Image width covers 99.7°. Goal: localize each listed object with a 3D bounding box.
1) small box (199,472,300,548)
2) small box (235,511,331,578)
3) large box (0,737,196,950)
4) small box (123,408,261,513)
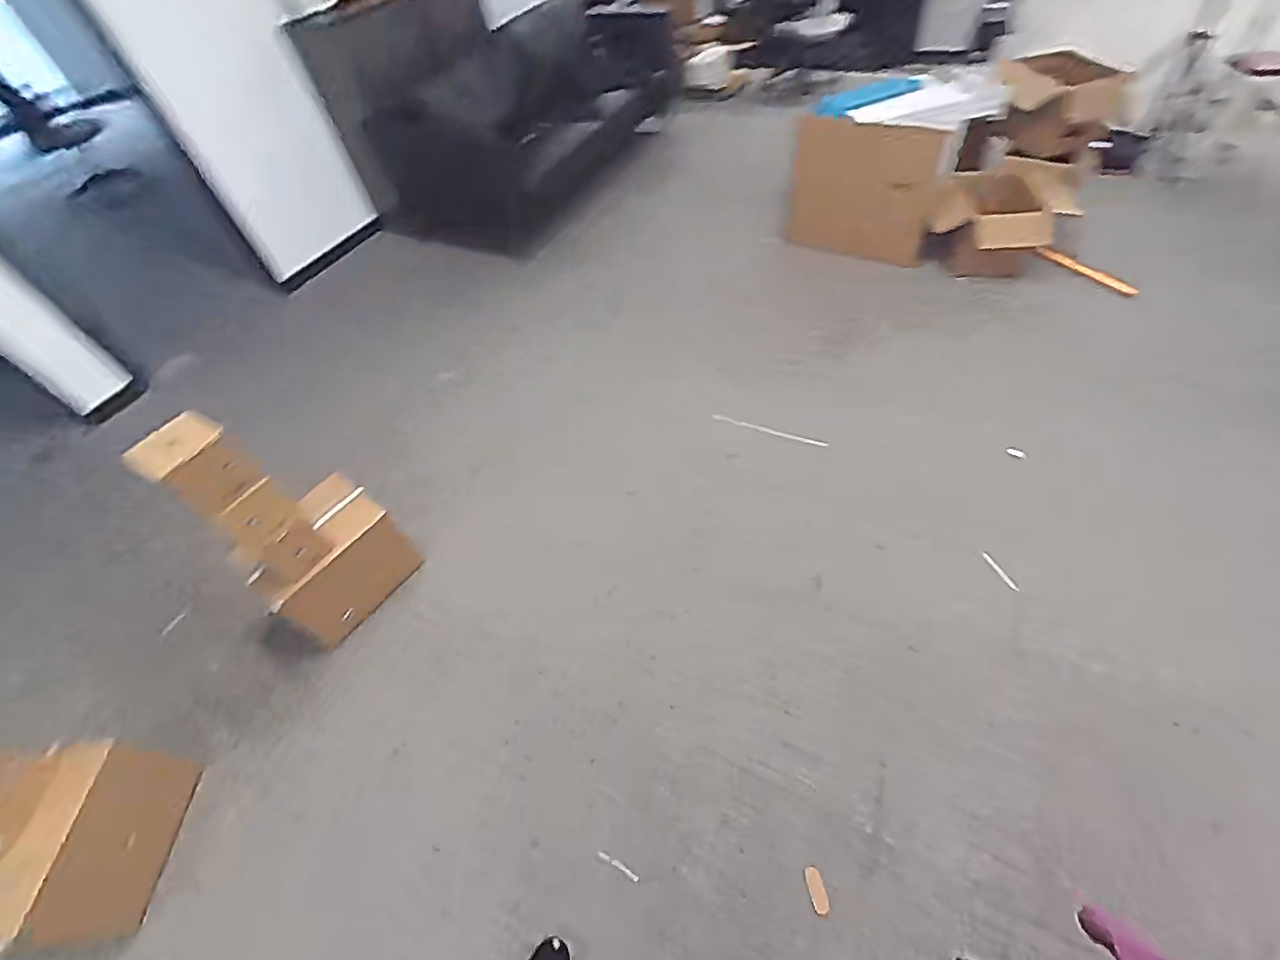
[{"bbox_3d":[-1.070,0.060,1.459,0.179,0.176,0.168,25,59,25],"label":"small box"},{"bbox_3d":[-1.056,0.162,1.585,0.179,0.176,0.168,26,59,24],"label":"small box"},{"bbox_3d":[-1.444,0.908,1.356,0.320,0.320,0.408,-8,52,3],"label":"large box"},{"bbox_3d":[-1.092,-0.042,1.334,0.179,0.176,0.168,24,57,25],"label":"small box"}]
